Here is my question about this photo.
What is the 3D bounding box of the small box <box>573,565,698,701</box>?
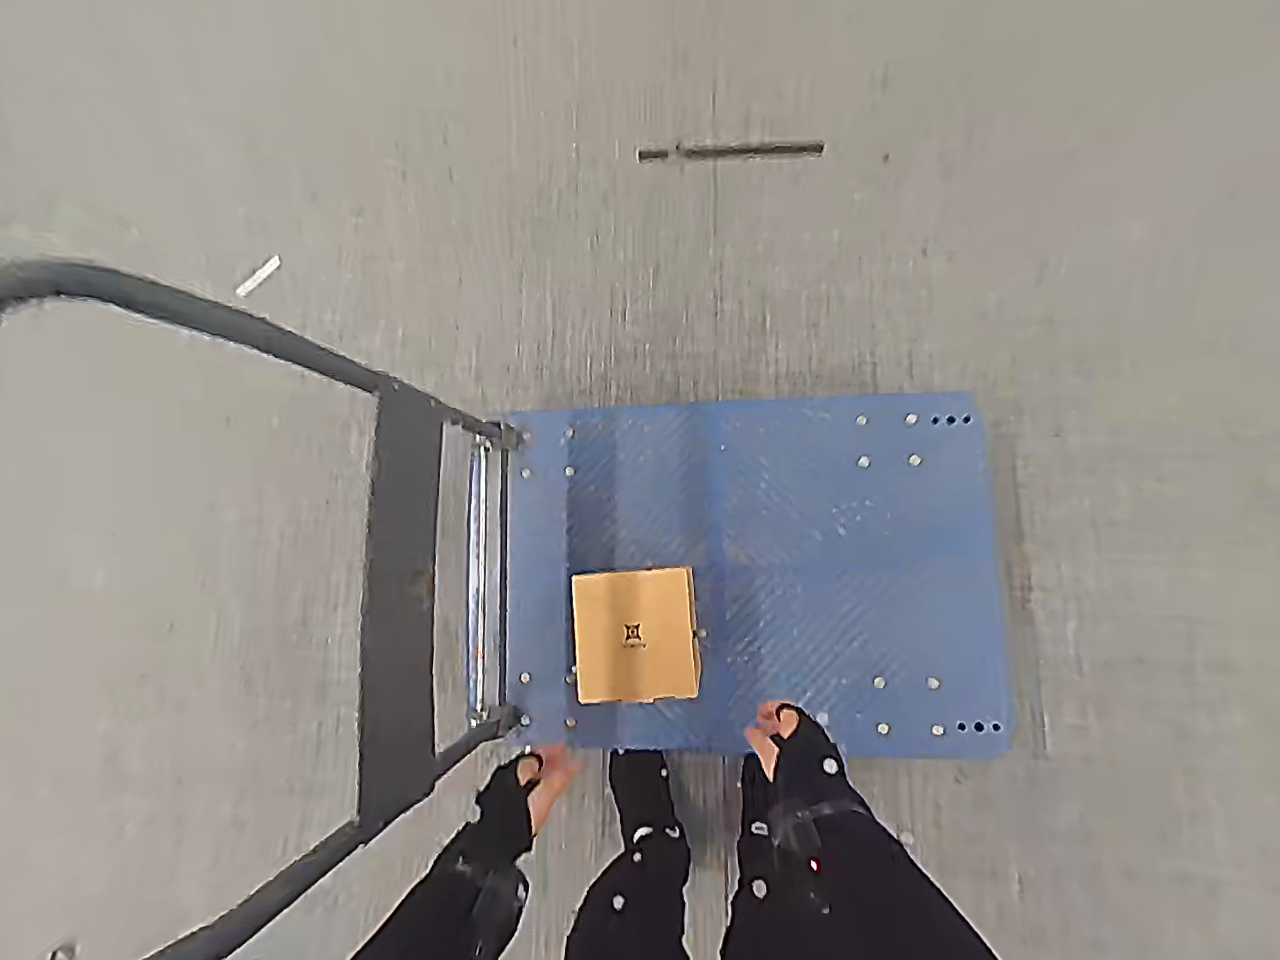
[{"bbox_3d":[-0.002,0.223,0.828,0.168,0.176,0.179,-6,83,6],"label":"small box"}]
